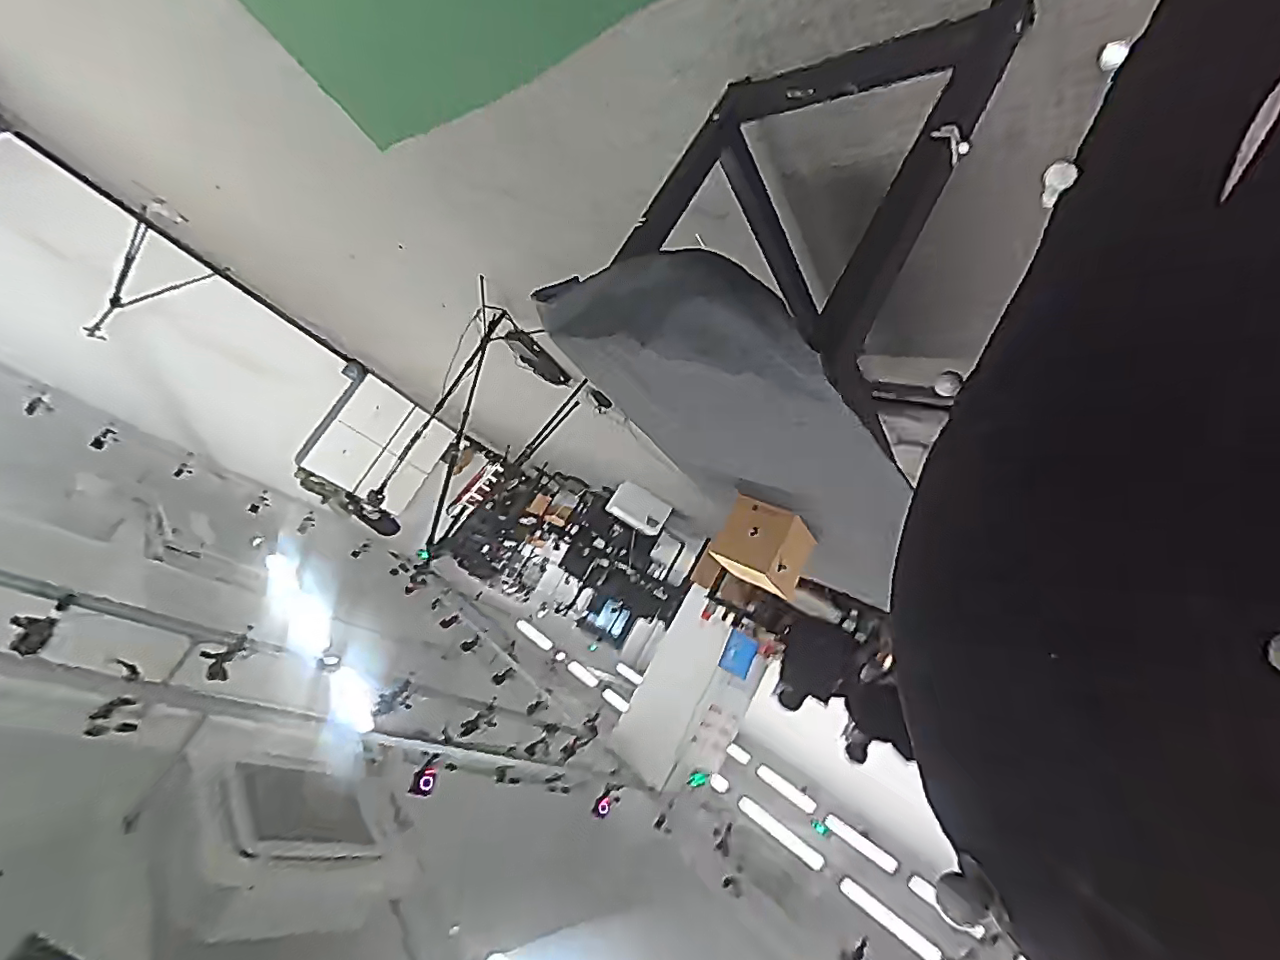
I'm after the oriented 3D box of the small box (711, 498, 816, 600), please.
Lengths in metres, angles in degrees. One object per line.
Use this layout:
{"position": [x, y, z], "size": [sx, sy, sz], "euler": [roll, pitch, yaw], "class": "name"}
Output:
{"position": [0.312, 0.167, 1.347], "size": [0.168, 0.176, 0.179], "euler": [20, 164, 42], "class": "small box"}
